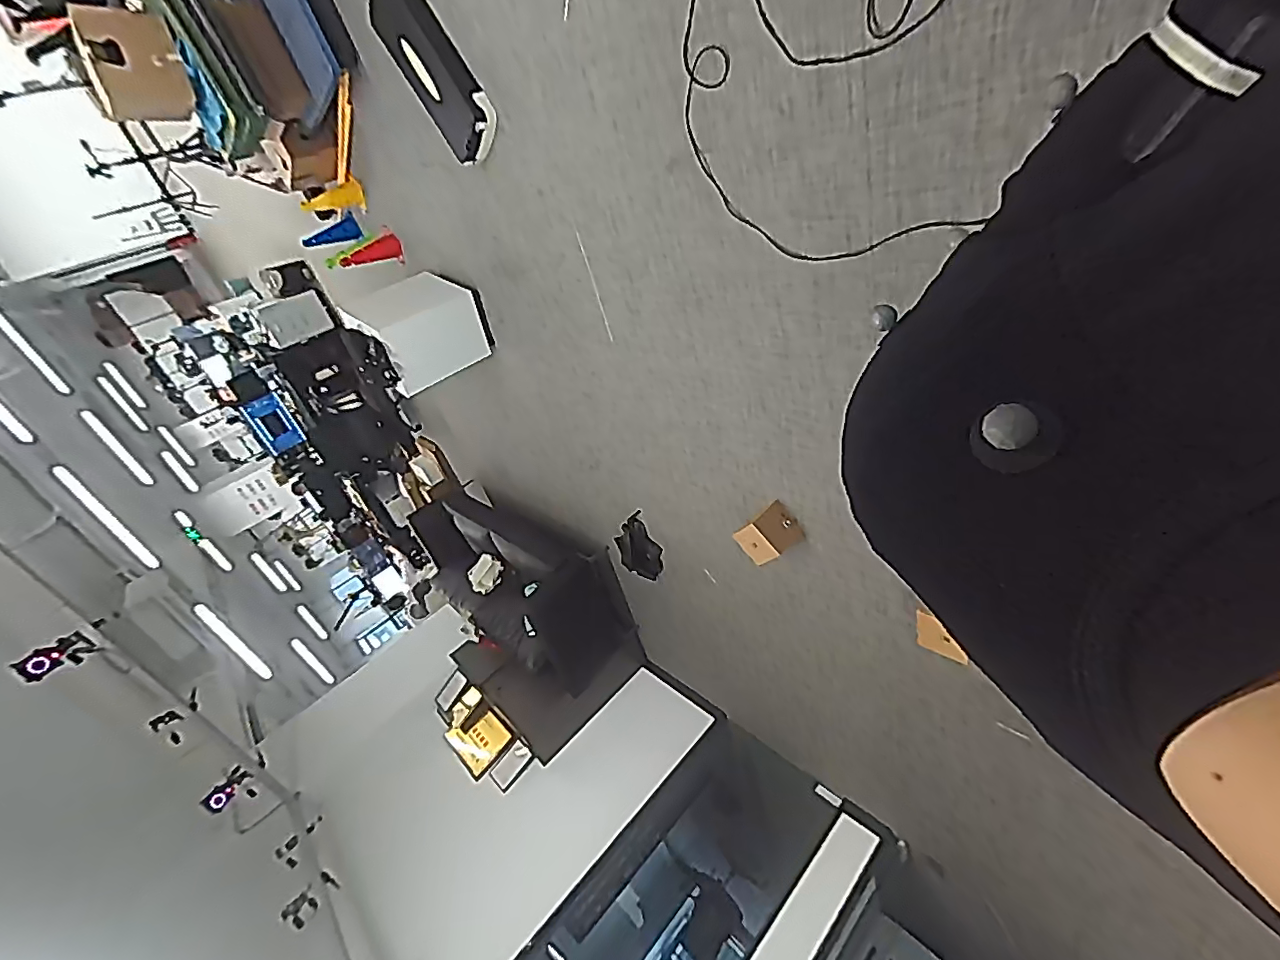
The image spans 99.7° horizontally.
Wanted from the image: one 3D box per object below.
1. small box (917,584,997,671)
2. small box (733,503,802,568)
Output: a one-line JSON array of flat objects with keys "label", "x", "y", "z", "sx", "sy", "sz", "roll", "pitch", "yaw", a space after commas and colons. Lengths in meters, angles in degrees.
[{"label": "small box", "x": 1.005, "y": 0.458, "z": 1.709, "sx": 0.179, "sy": 0.176, "sz": 0.168, "roll": 18, "pitch": 137, "yaw": 47}, {"label": "small box", "x": 0.515, "y": 0.223, "z": 2.176, "sx": 0.168, "sy": 0.176, "sz": 0.179, "roll": 49, "pitch": 151, "yaw": 5}]
